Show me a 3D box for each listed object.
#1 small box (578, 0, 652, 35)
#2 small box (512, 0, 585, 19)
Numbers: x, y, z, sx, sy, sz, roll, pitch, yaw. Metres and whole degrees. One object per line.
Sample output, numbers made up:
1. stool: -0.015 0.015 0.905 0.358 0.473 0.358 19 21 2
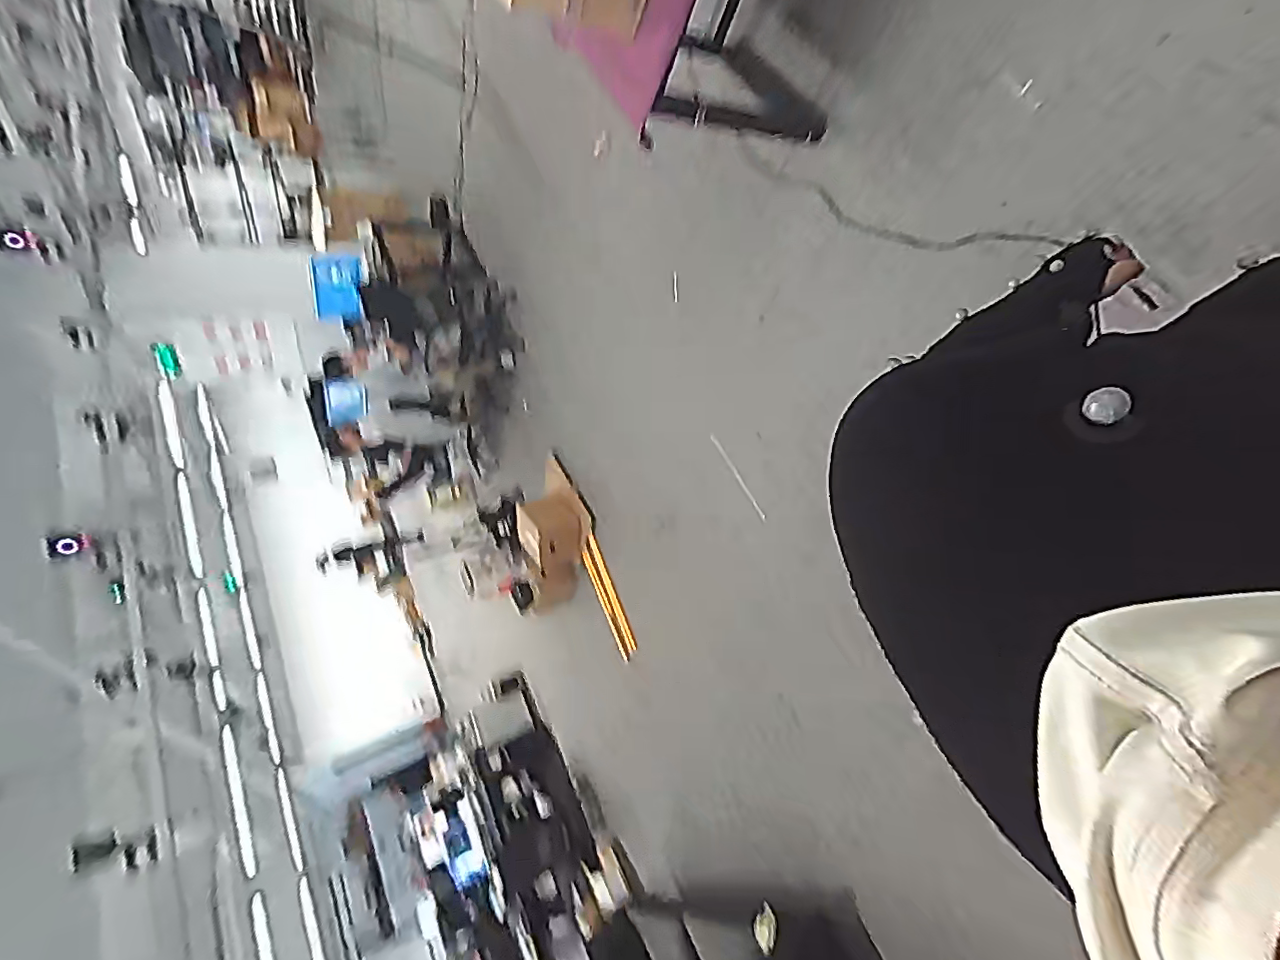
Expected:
1. small box: -0.075 -1.183 1.260 0.179 0.176 0.168 61 145 22
2. small box: -0.206 -1.143 1.170 0.179 0.176 0.168 62 146 23
